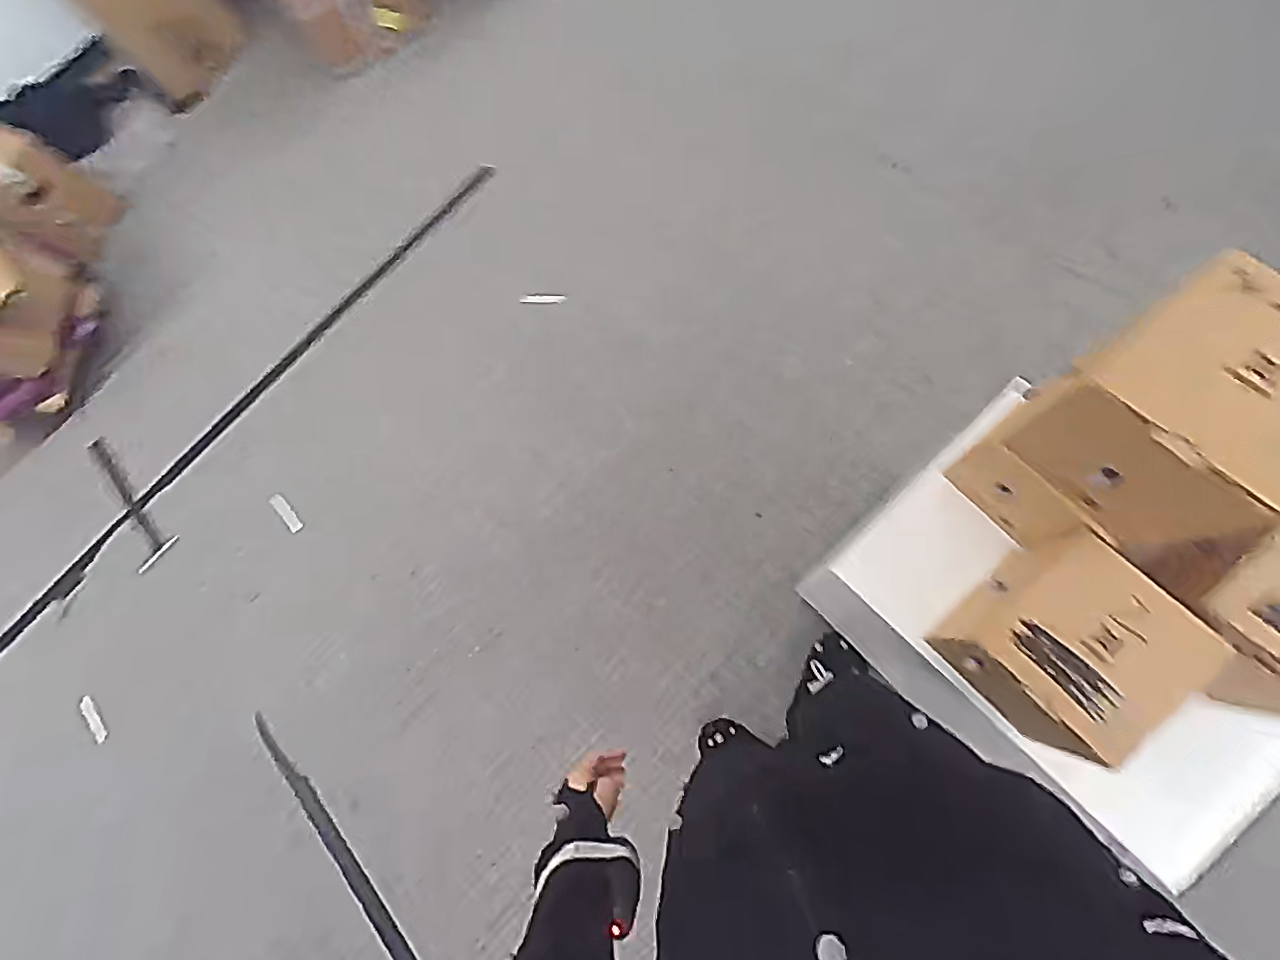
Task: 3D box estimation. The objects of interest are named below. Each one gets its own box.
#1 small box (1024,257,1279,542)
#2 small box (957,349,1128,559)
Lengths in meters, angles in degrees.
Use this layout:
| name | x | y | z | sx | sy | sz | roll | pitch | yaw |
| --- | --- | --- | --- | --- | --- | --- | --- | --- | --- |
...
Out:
| name | x | y | z | sx | sy | sz | roll | pitch | yaw |
| --- | --- | --- | --- | --- | --- | --- | --- | --- | --- |
| small box | 0.514 | -0.060 | 0.514 | 0.179 | 0.176 | 0.168 | -41 | 73 | -1 |
| small box | 0.533 | -0.019 | 0.672 | 0.179 | 0.176 | 0.168 | -40 | 73 | -1 |
